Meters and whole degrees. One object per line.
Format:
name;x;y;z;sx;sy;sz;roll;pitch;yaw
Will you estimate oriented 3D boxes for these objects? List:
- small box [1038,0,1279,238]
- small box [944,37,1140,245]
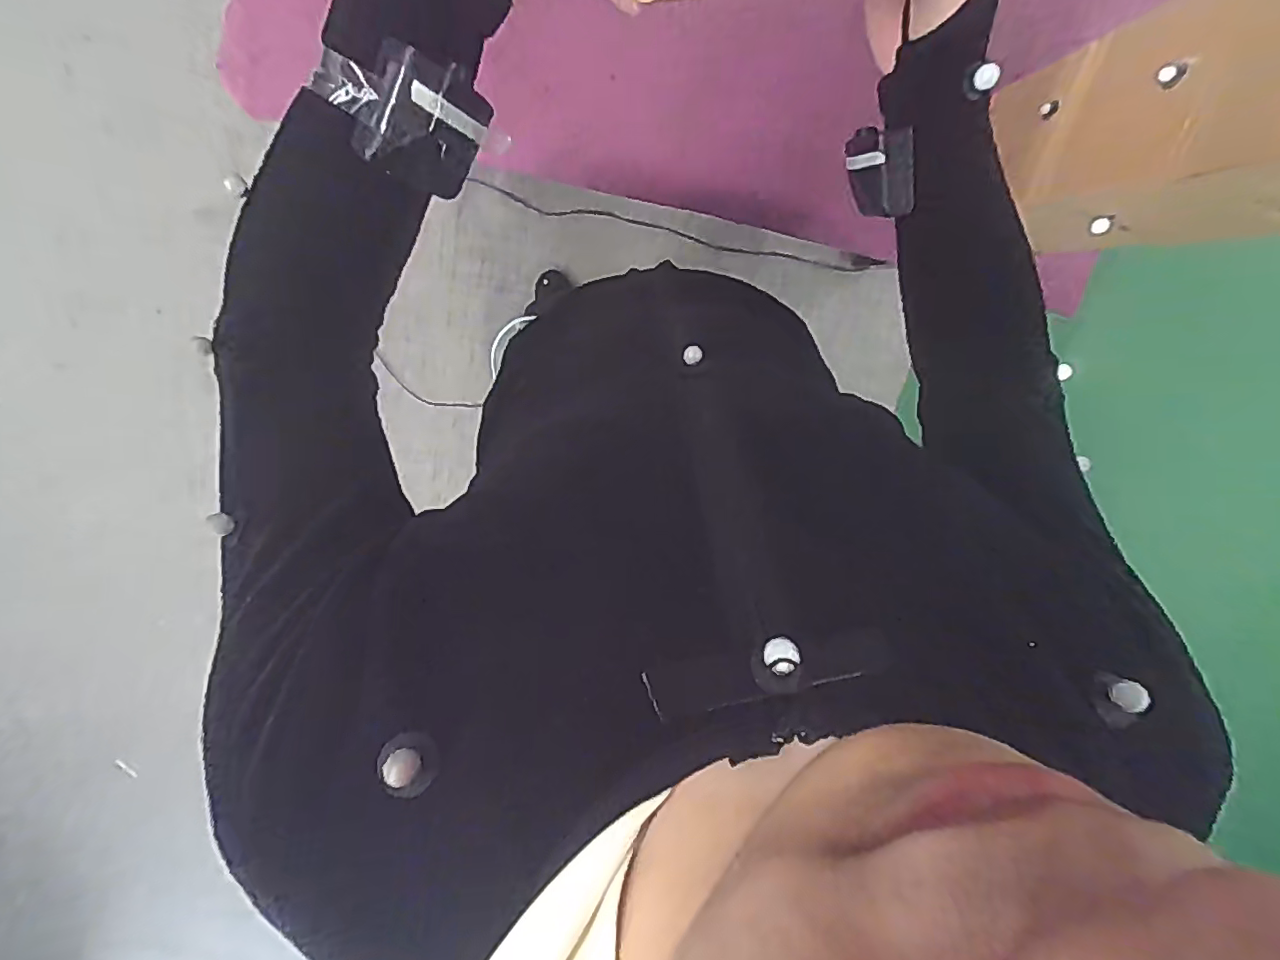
small box;0.556;-0.361;0.540;0.168;0.176;0.179;14;108;-7
small box;0.544;-0.412;0.695;0.179;0.176;0.168;13;108;-8
